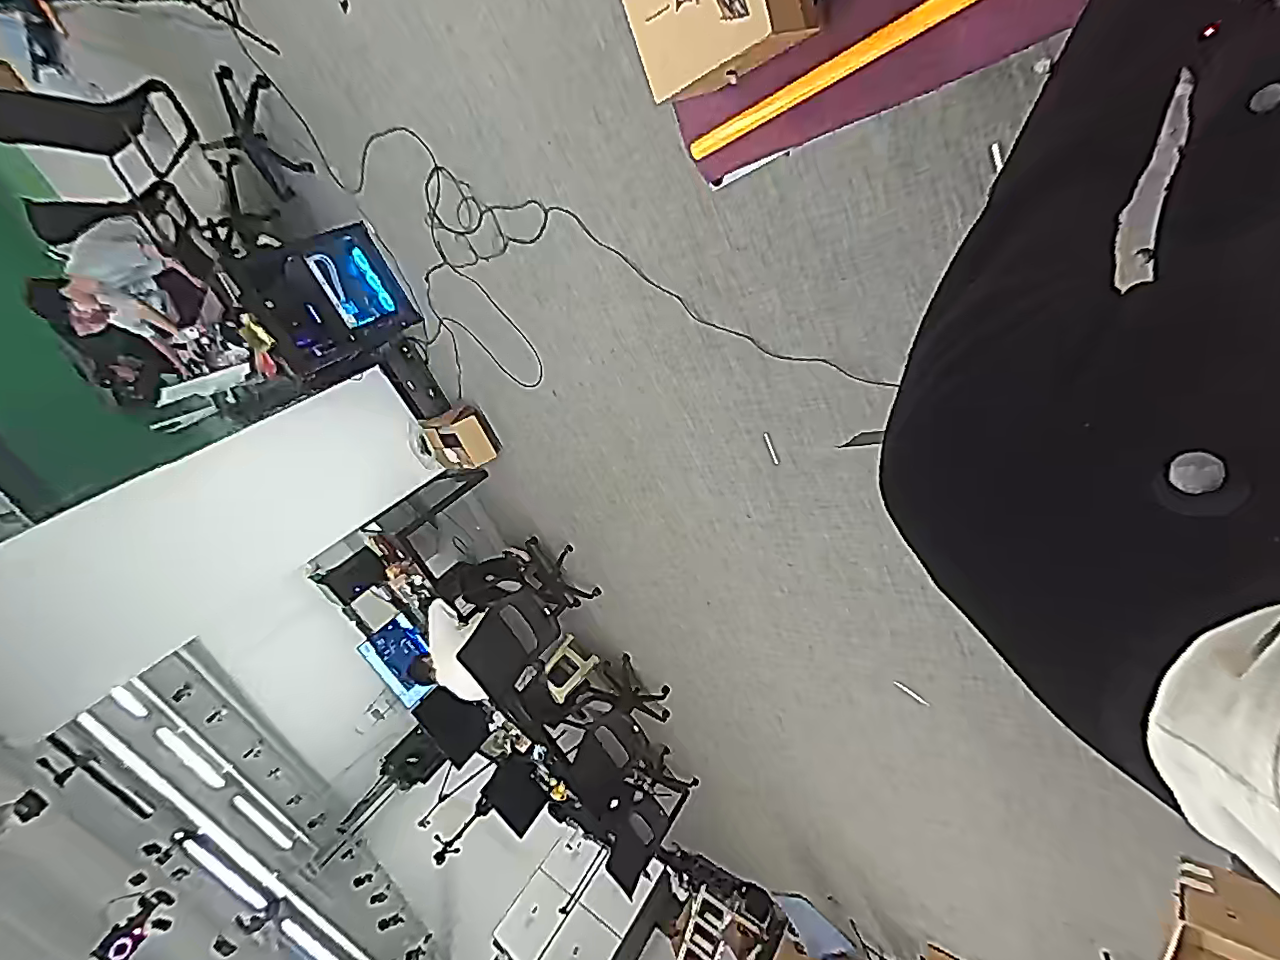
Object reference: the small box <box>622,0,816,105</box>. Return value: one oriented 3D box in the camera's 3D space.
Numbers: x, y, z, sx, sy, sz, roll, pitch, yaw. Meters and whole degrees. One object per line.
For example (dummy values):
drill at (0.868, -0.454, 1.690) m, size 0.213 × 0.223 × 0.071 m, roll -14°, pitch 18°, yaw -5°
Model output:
small box at (0.100, -0.603, 0.666) m, size 0.179 × 0.176 × 0.168 m, roll 1°, pitch 125°, yaw 44°
